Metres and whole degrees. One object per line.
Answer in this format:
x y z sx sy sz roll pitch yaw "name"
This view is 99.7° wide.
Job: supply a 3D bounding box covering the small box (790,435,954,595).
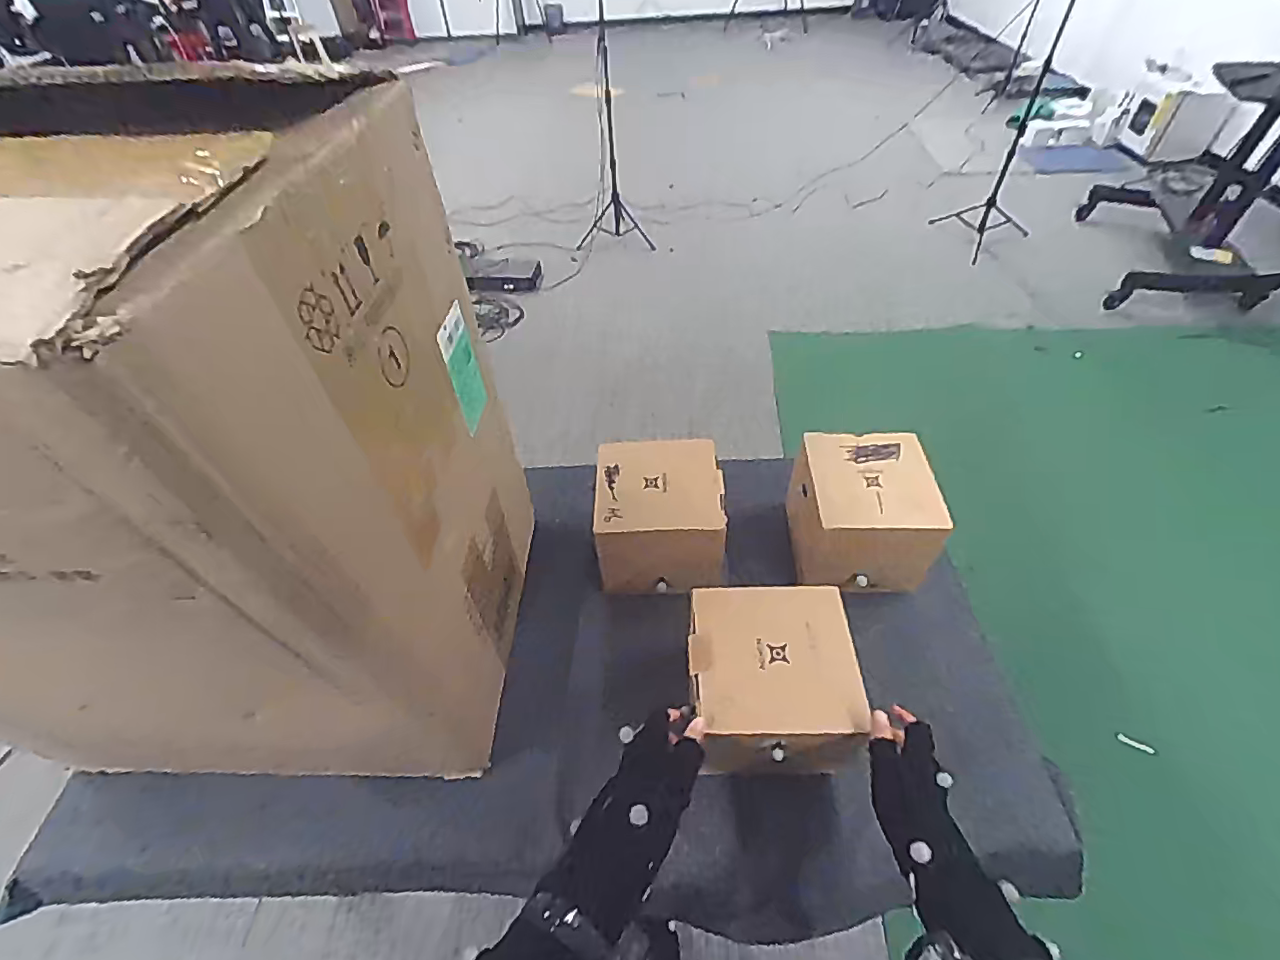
0.329 0.052 0.812 0.168 0.176 0.179 0 50 4 "small box"
